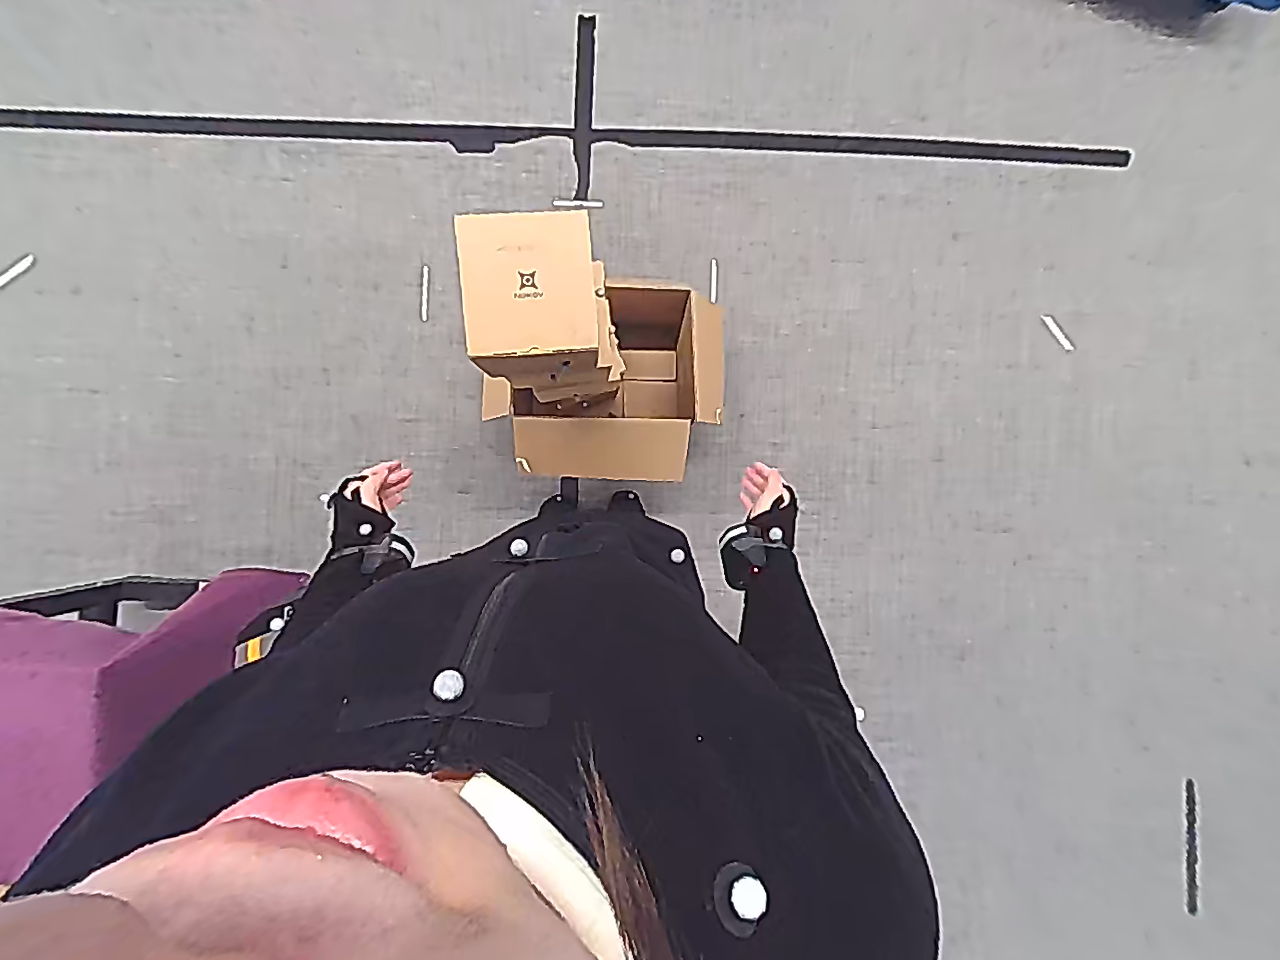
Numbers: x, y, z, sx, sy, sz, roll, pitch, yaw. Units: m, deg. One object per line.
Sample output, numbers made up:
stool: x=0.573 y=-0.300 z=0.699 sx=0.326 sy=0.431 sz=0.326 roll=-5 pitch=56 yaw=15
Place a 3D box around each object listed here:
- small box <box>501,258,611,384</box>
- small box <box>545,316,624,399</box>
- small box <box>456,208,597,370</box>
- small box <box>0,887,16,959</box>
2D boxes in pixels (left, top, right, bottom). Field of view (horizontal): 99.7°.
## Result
small box: x=-0.145 y=-0.259 z=0.912 sx=0.179 sy=0.176 sz=0.168 roll=-6 pitch=94 yaw=-6
small box: x=-0.147 y=-0.295 z=1.241 sx=0.179 sy=0.176 sz=0.168 roll=-20 pitch=94 yaw=-5
small box: x=-0.147 y=-0.250 z=0.748 sx=0.168 sy=0.176 sz=0.179 roll=-5 pitch=93 yaw=-6
small box: x=-0.934 y=0.620 z=0.653 sx=0.179 sy=0.176 sz=0.168 roll=5 pitch=89 yaw=-1
